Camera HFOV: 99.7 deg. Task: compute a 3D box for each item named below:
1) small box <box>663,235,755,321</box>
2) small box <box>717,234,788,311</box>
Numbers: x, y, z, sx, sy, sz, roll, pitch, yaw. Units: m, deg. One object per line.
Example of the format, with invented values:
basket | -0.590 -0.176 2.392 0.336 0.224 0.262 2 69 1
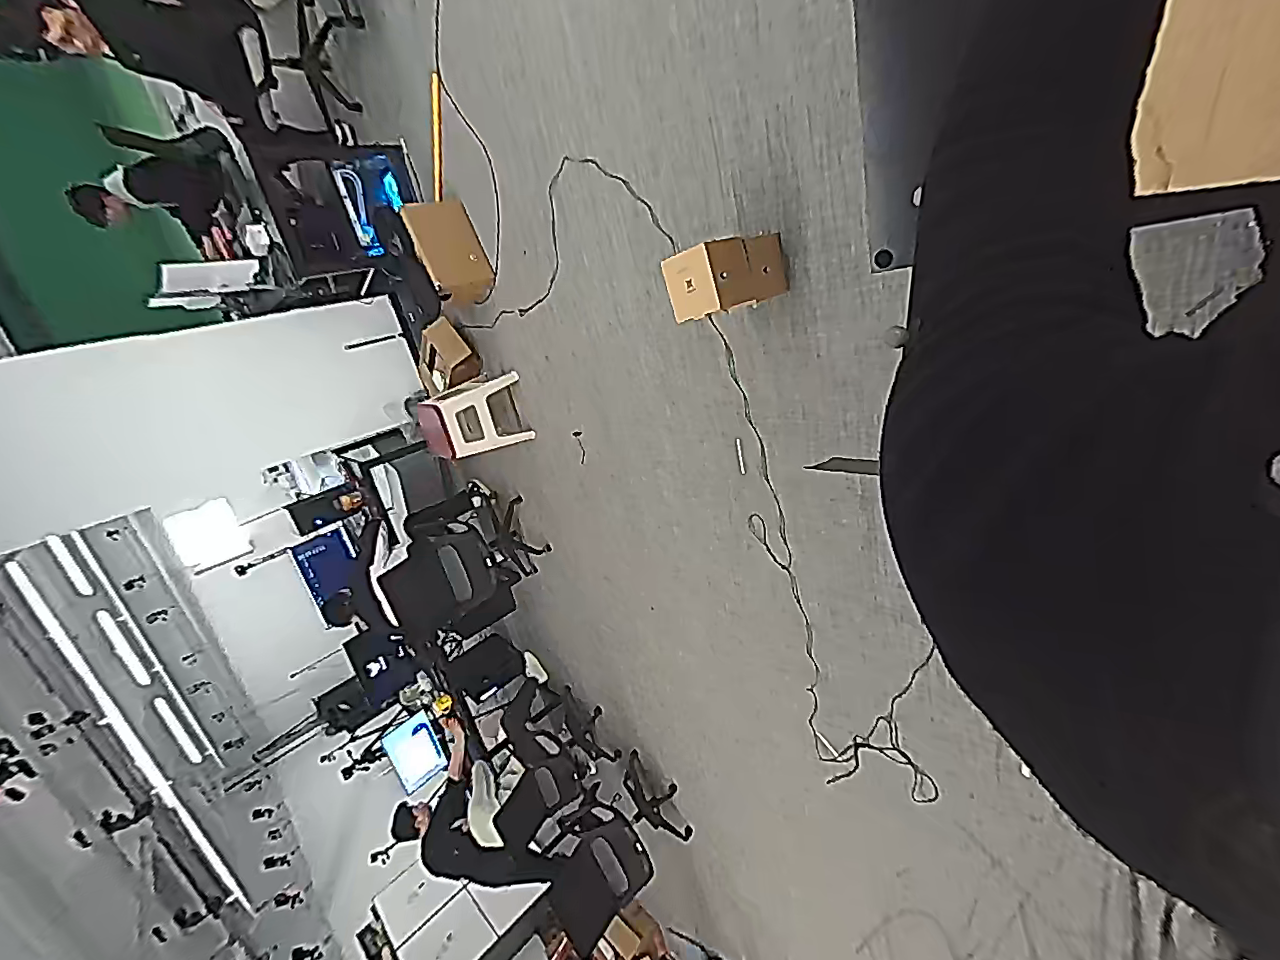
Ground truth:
small box | 0.196 -0.559 1.496 0.168 0.176 0.179 -1 110 49
small box | 0.313 -0.614 1.594 0.168 0.176 0.179 4 116 49
